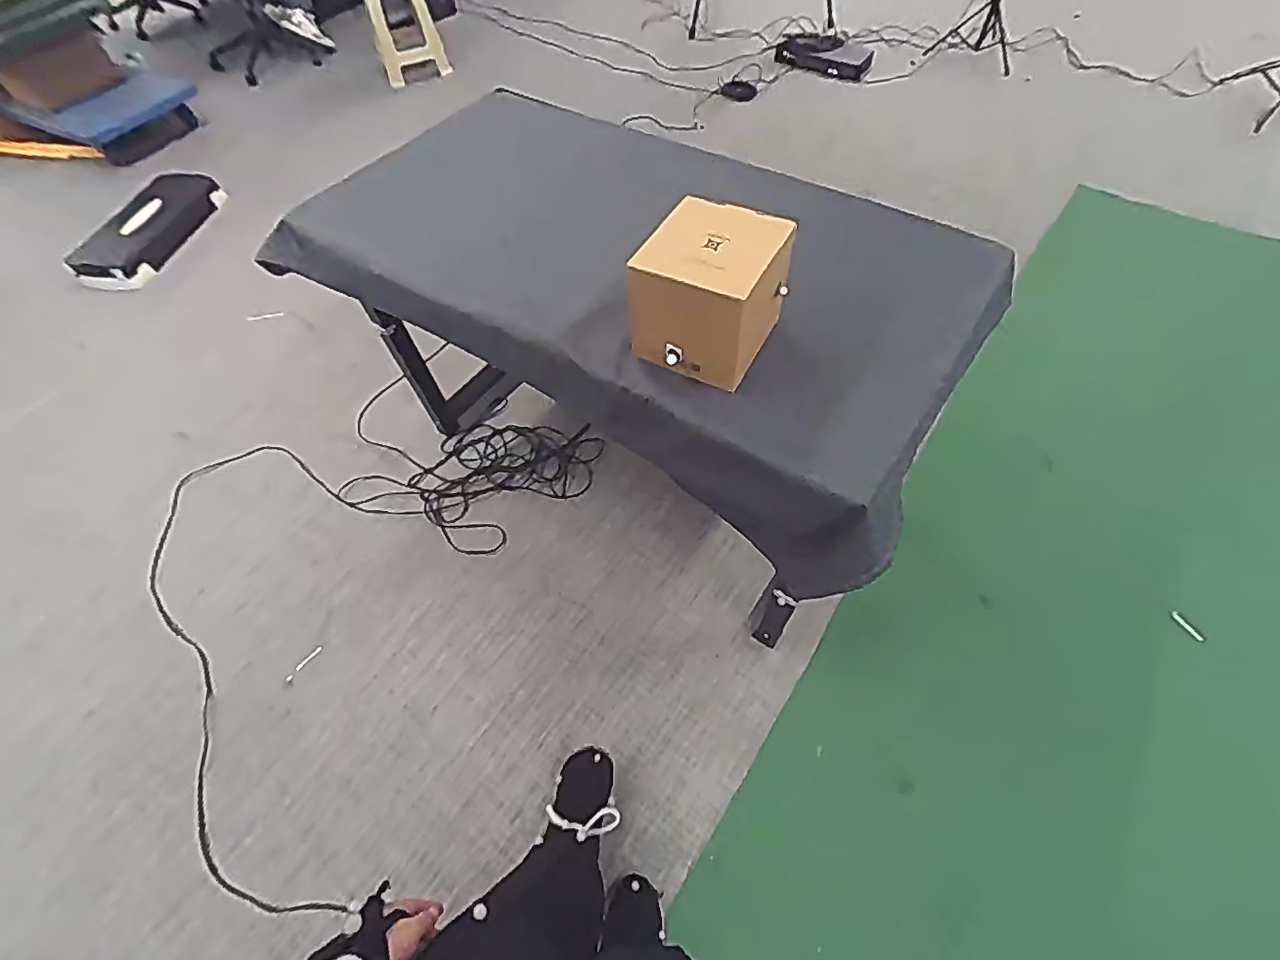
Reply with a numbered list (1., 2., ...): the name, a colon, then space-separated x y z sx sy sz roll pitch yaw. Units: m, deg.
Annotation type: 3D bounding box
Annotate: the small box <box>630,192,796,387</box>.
1. small box: 0.100 -0.266 0.765 0.168 0.176 0.179 23 63 17
